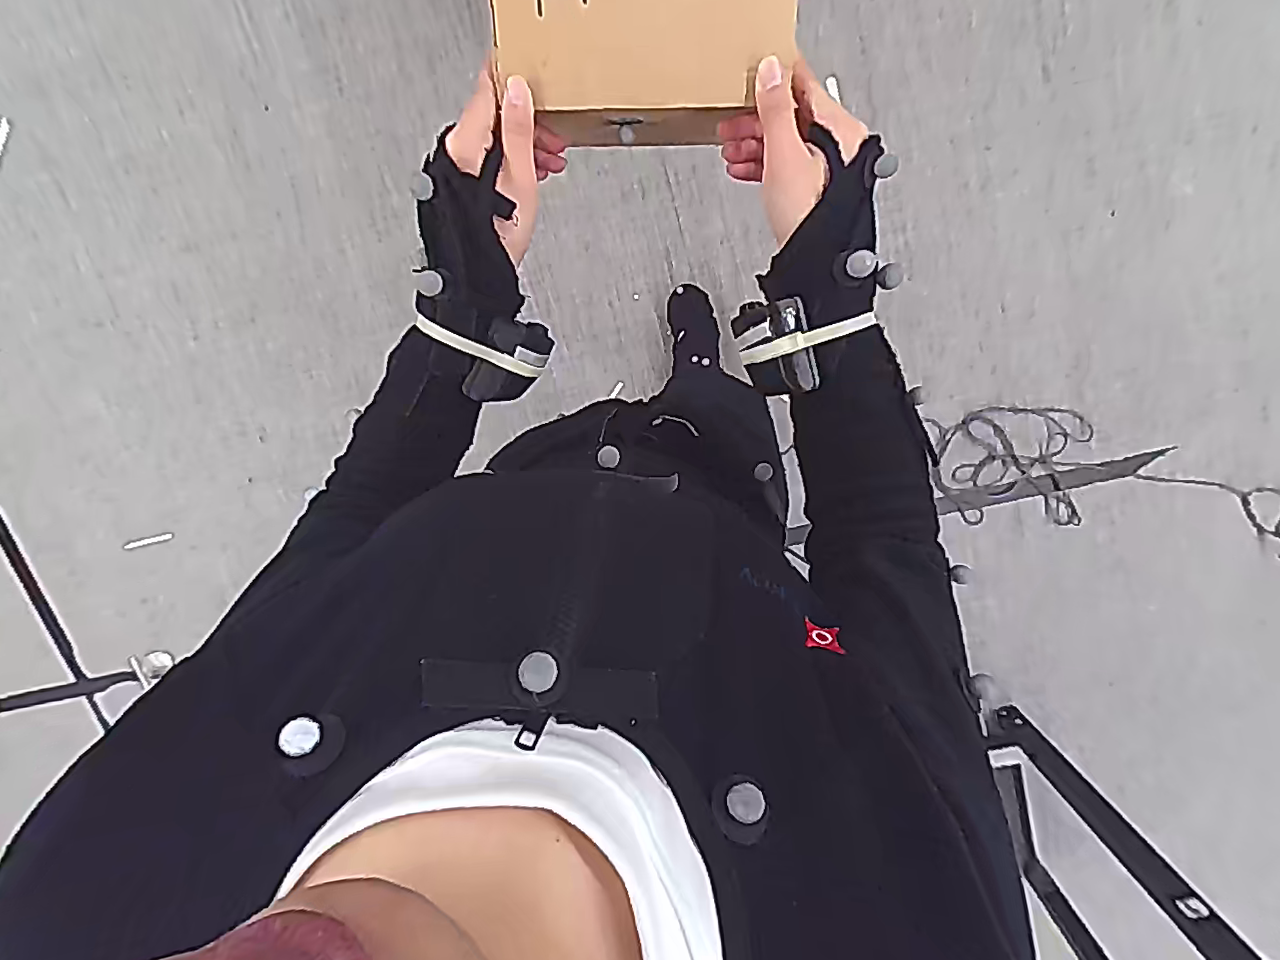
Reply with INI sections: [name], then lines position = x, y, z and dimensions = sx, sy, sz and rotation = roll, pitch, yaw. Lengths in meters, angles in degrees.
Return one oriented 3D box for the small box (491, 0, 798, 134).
[small box]
position = 0.003, -0.338, 0.359
dimensions = 0.179, 0.176, 0.168
rotation = 0, 115, 1
